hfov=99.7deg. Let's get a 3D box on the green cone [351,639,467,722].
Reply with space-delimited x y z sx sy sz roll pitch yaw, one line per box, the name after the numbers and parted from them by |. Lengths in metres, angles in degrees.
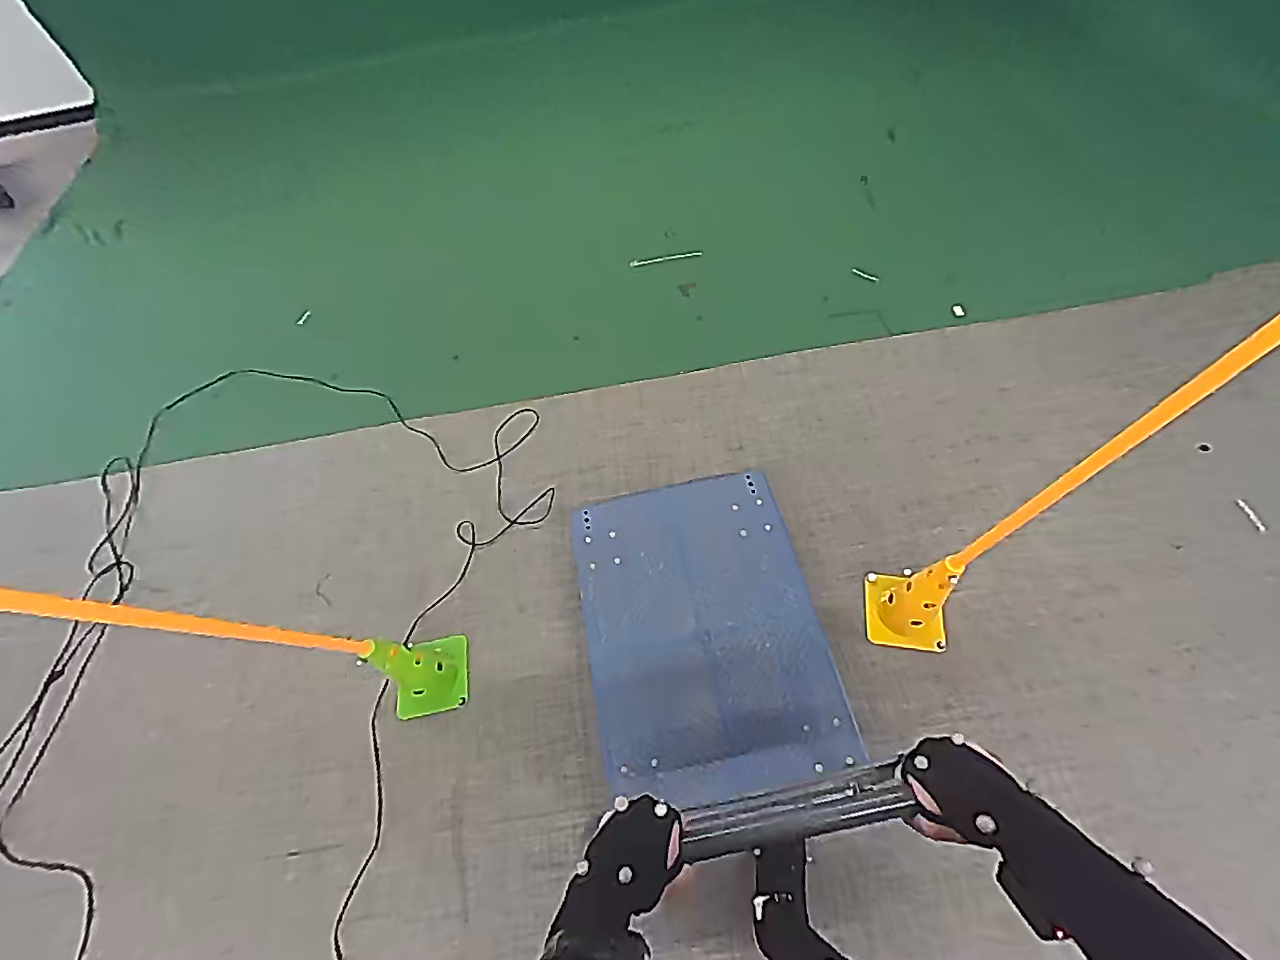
-0.611 0.477 1.383 0.202 0.368 0.200 -14 59 1 | green cone
